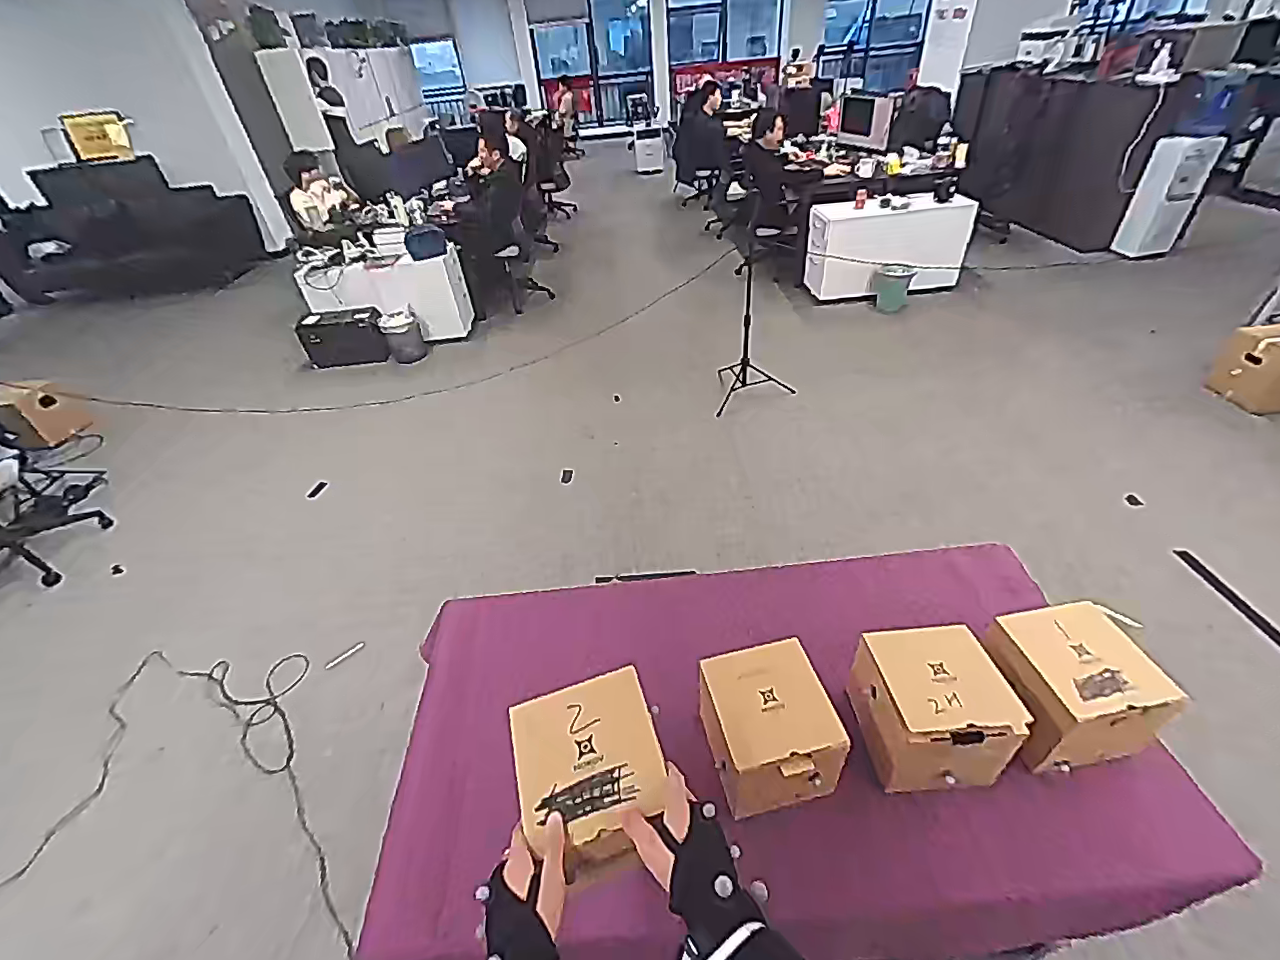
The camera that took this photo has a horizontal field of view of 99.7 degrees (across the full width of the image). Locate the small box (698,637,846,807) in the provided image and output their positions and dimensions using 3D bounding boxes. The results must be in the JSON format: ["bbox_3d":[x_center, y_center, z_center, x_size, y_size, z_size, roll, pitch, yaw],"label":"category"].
[{"bbox_3d":[0.194,0.378,0.839,0.168,0.176,0.179,-10,39,-7],"label":"small box"}]

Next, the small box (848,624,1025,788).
[{"bbox_3d":[0.439,0.349,0.840,0.168,0.176,0.179,-5,39,2],"label":"small box"}]

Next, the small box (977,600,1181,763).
[{"bbox_3d":[0.657,0.319,0.848,0.168,0.176,0.179,-9,38,-3],"label":"small box"}]
